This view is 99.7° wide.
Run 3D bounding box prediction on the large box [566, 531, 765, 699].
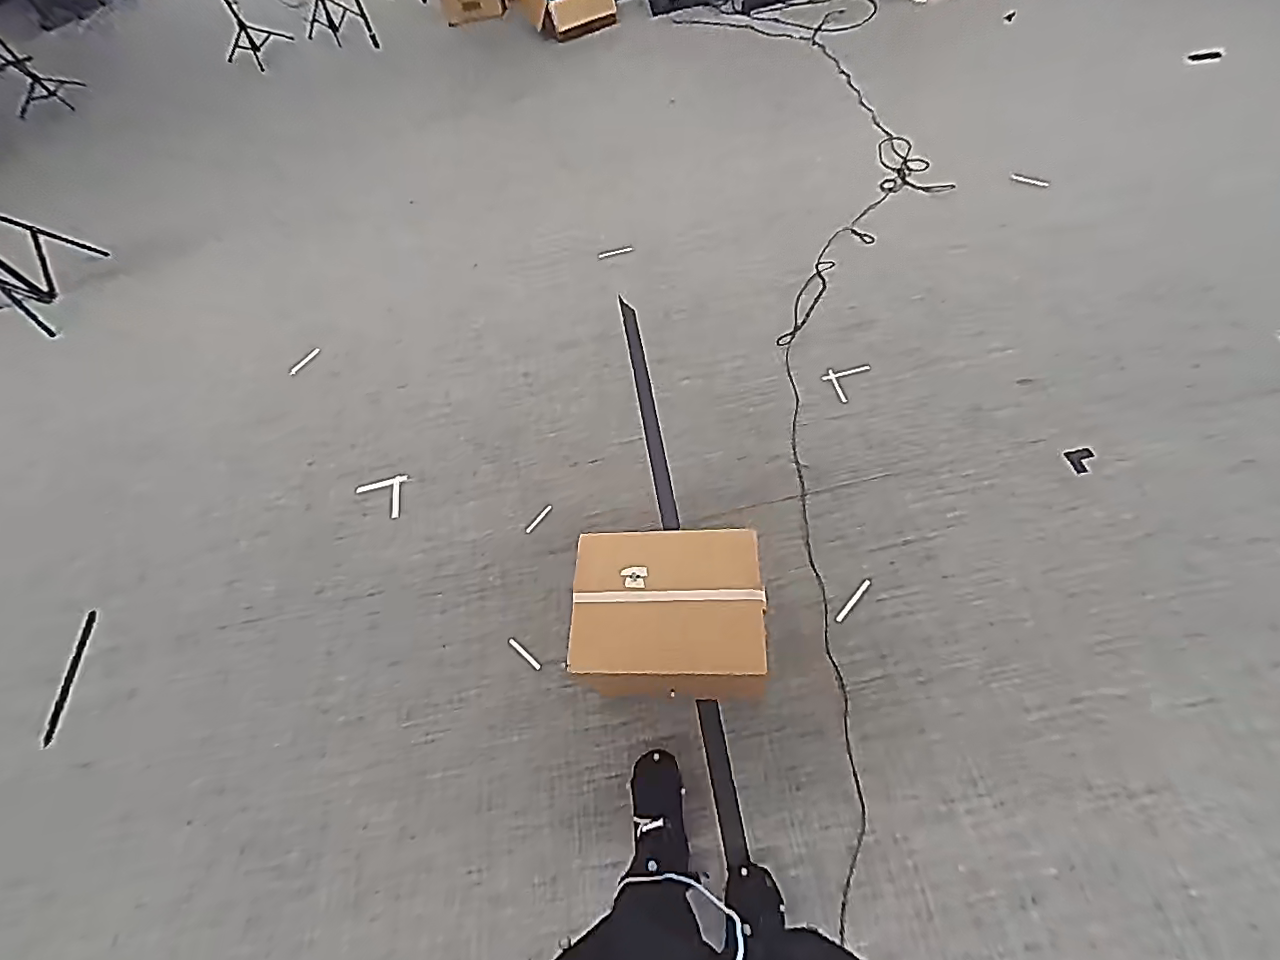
[{"bbox_3d":[0.075,0.330,1.268,0.408,0.320,0.320,-3,58,10],"label":"large box"}]
